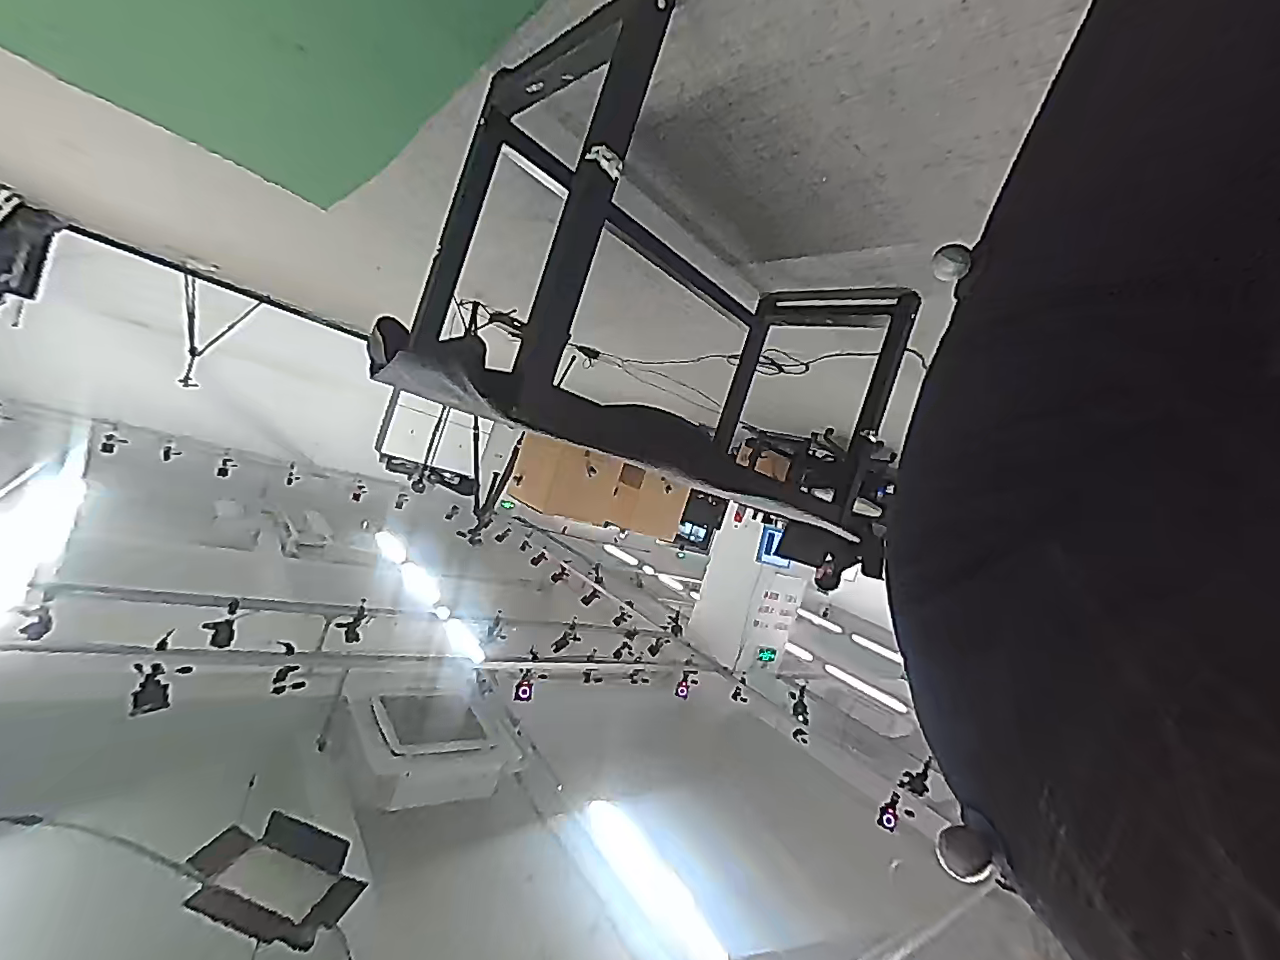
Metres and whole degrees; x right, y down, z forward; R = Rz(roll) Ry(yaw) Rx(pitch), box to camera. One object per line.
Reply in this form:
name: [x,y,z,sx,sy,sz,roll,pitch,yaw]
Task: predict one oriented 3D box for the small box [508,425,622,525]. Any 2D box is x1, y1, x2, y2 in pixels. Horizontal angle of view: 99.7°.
small box: [-0.165,-0.016,1.210,0.168,0.176,0.179,17,-179,-41]
